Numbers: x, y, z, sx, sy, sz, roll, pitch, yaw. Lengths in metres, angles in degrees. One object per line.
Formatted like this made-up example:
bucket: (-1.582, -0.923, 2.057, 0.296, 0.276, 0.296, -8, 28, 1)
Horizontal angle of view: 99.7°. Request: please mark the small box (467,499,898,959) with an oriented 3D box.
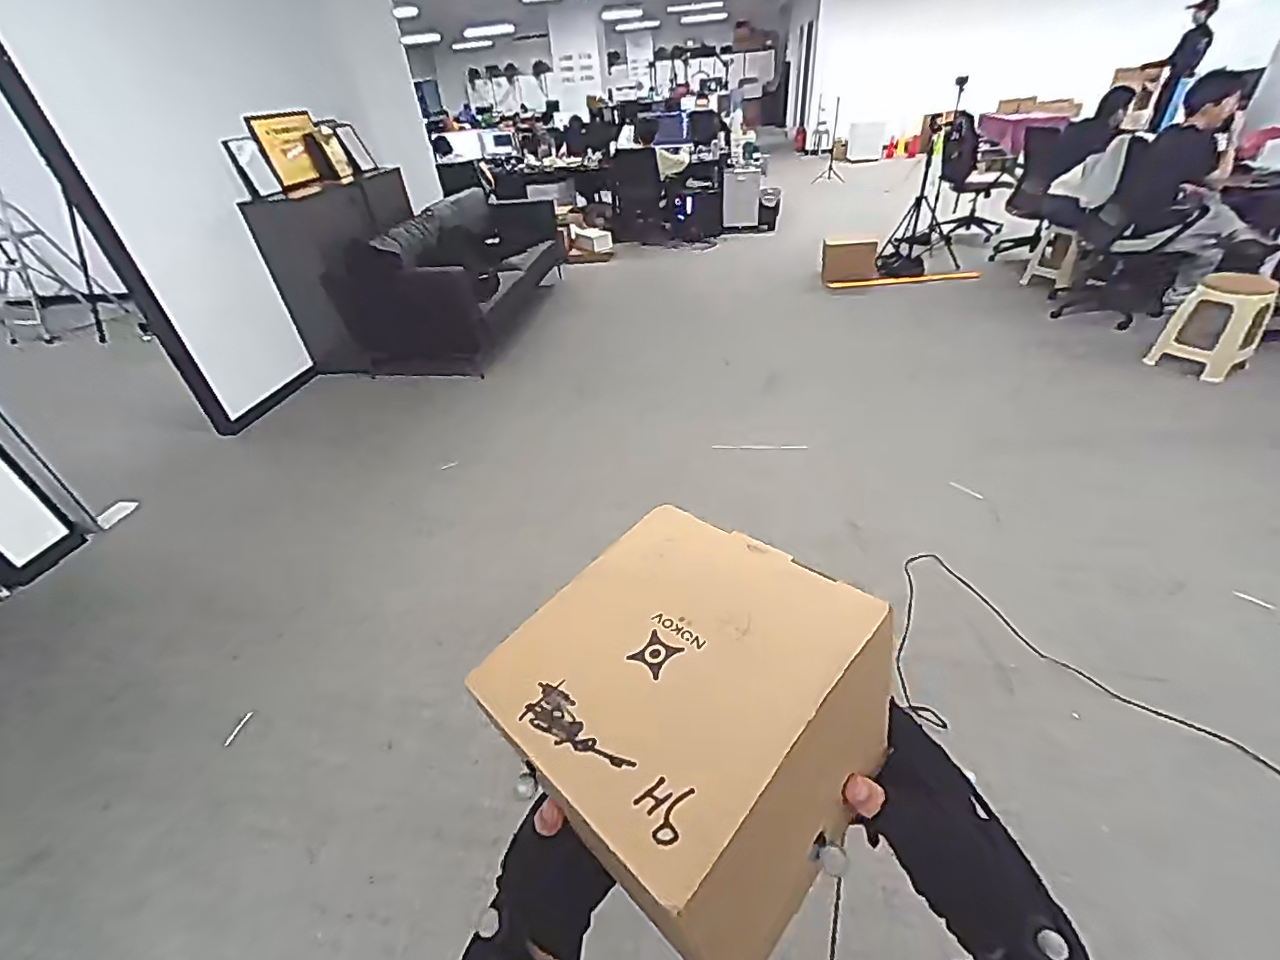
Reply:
small box: (0.034, 0.146, 0.334, 0.168, 0.176, 0.179, 23, 51, 41)
